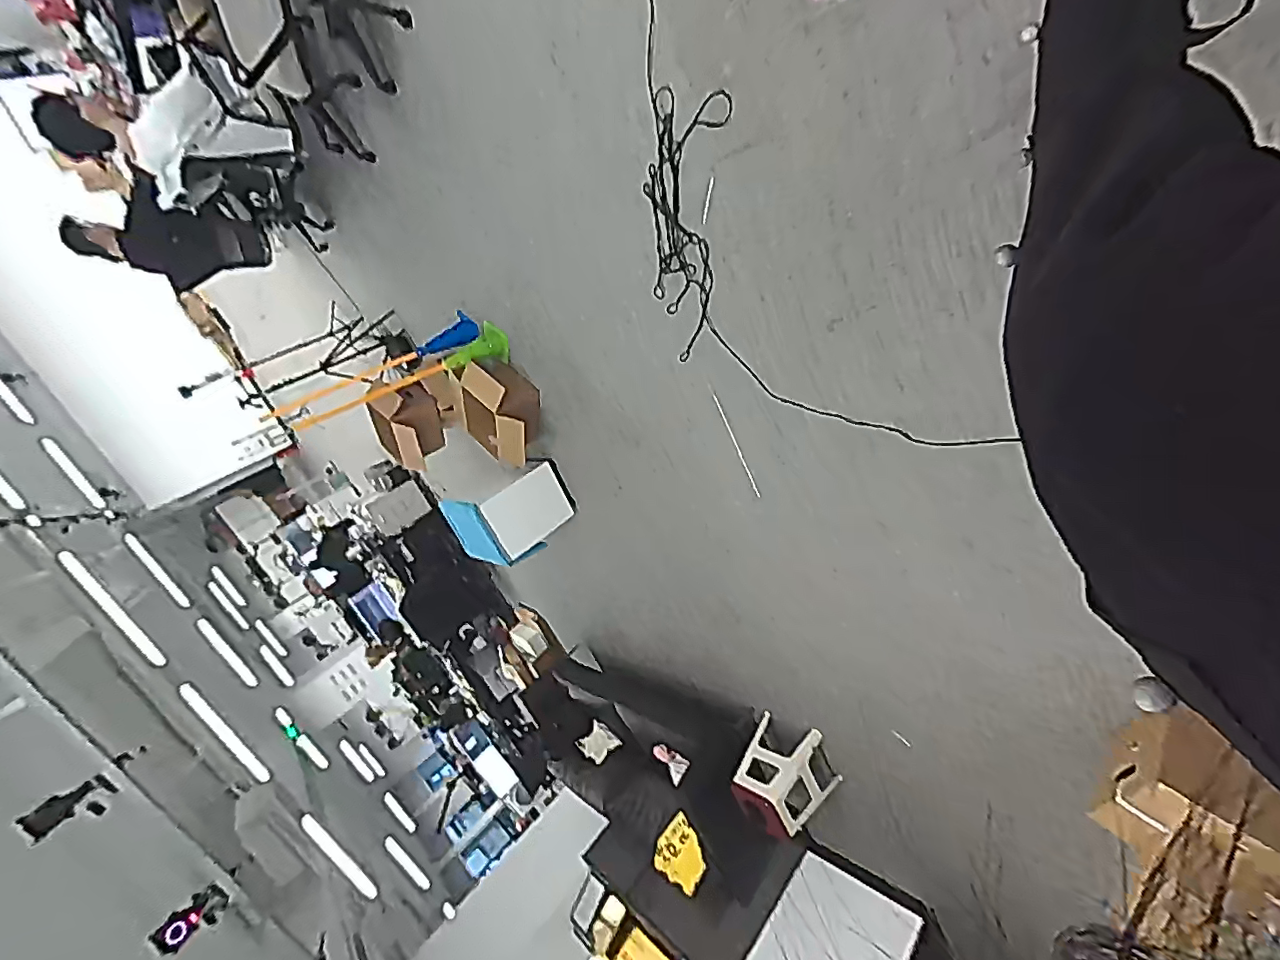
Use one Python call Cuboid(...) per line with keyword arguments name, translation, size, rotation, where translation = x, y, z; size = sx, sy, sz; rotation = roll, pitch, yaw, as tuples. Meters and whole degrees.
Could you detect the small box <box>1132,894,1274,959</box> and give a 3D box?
Cuboid(name="small box", translation=(1.261, 1.075, 1.213), size=(0.168, 0.176, 0.179), rotation=(32, 144, 30))
